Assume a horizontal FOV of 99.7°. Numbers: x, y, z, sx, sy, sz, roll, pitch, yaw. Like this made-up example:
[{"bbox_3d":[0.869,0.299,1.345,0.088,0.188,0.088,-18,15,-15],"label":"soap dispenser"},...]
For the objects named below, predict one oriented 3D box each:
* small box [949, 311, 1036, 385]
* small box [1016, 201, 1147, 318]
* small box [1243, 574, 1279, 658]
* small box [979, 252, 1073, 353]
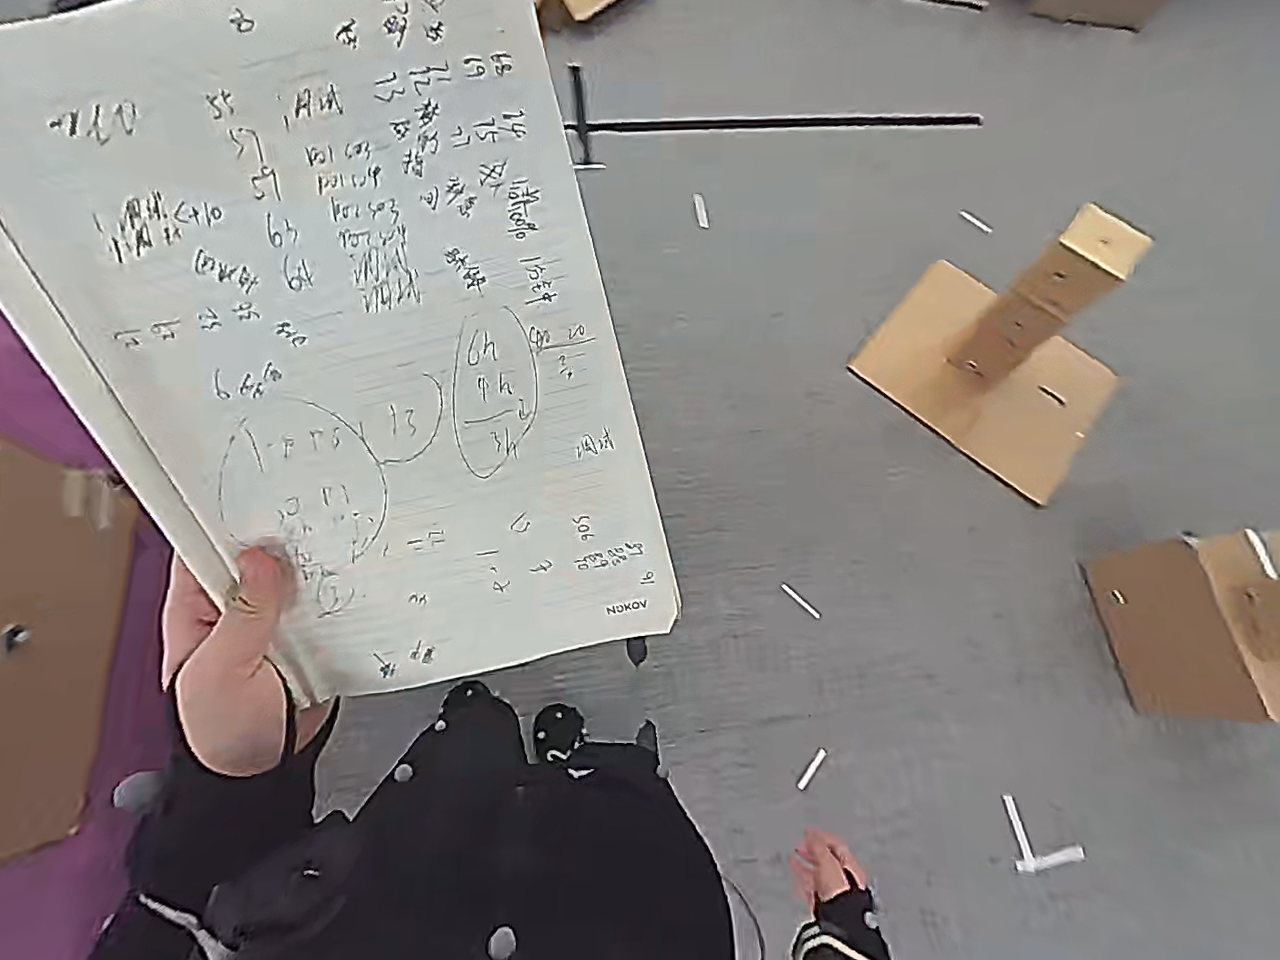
[{"bbox_3d":[1.095,-0.429,1.664,0.168,0.176,0.179,35,72,9],"label":"small box"},{"bbox_3d":[1.095,-0.546,1.358,0.168,0.176,0.179,39,71,11],"label":"small box"},{"bbox_3d":[1.409,0.271,1.102,0.179,0.176,0.168,-1,69,-5],"label":"small box"},{"bbox_3d":[1.094,-0.492,1.511,0.168,0.176,0.179,37,71,9],"label":"small box"}]
